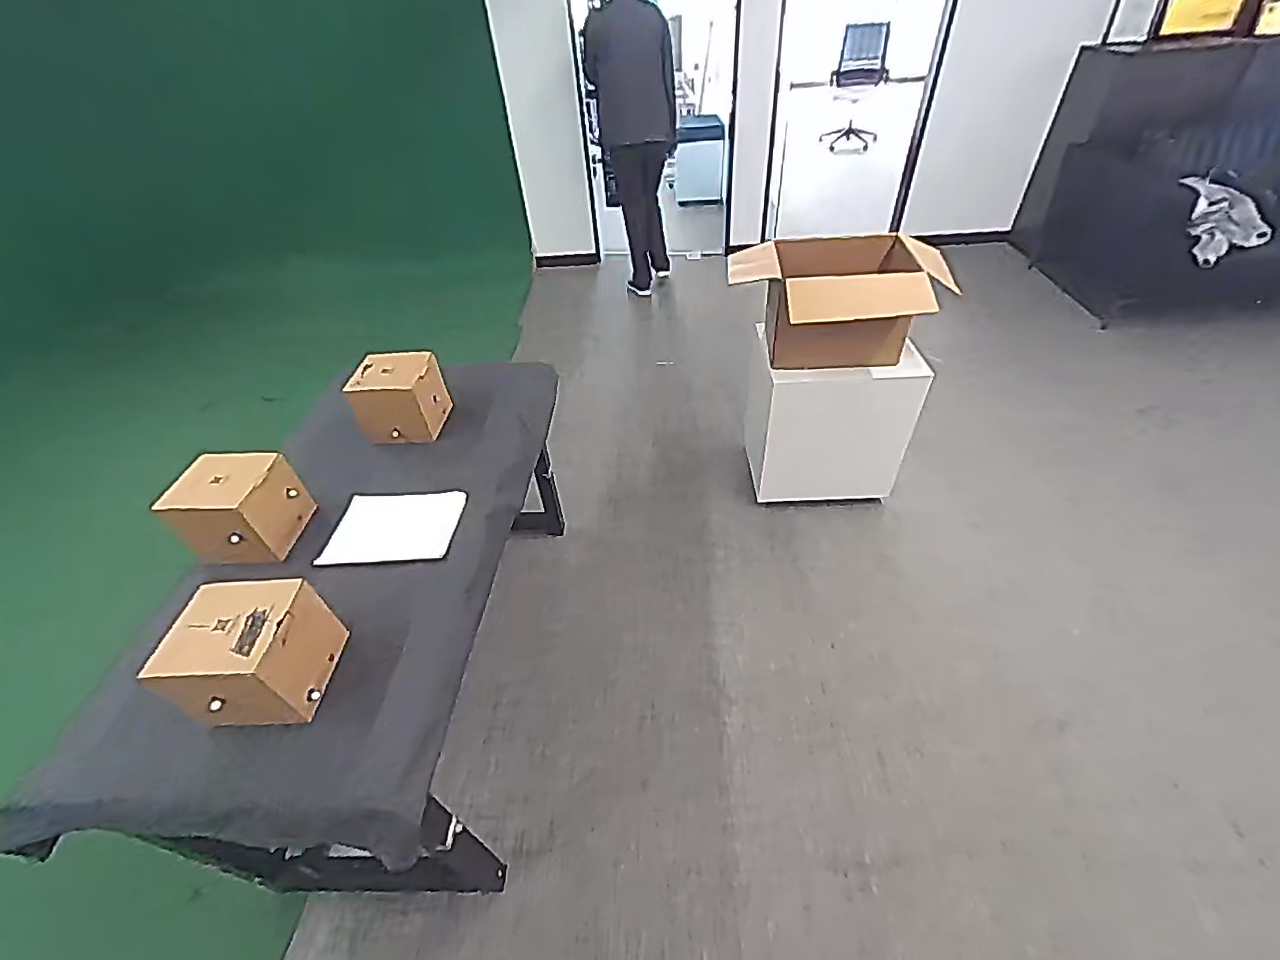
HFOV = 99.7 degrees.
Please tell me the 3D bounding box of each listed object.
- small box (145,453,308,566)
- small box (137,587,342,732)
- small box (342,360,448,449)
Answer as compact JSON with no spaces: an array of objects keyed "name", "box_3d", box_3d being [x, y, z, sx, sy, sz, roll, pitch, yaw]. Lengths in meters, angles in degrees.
[{"name":"small box","box_3d":[-0.832,0.062,1.114,0.179,0.176,0.168,-2,42,3]},{"name":"small box","box_3d":[-0.622,0.291,0.872,0.179,0.176,0.168,-3,42,2]},{"name":"small box","box_3d":[-0.616,-0.192,1.389,0.179,0.176,0.168,0,43,3]}]
